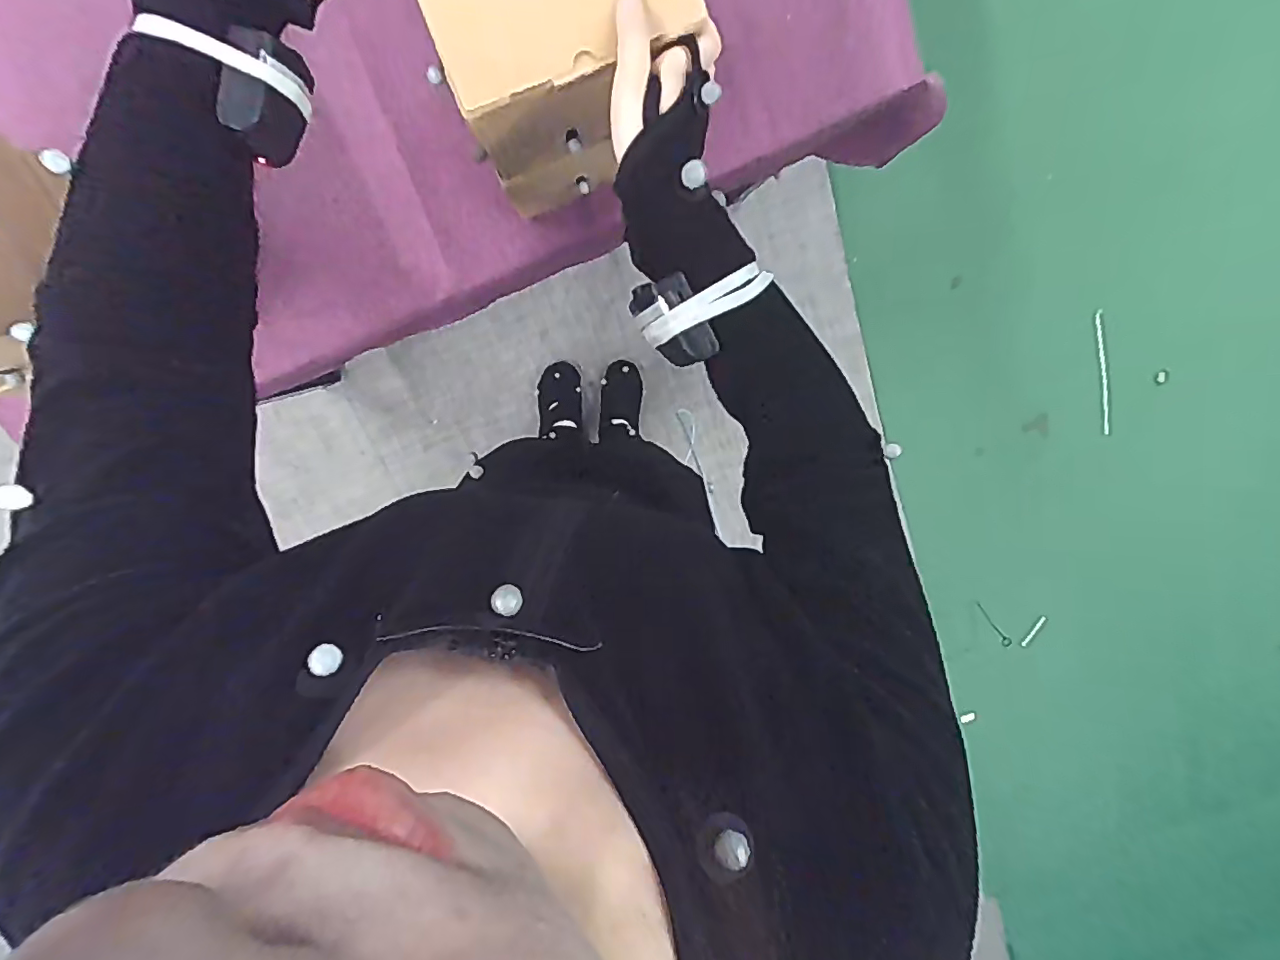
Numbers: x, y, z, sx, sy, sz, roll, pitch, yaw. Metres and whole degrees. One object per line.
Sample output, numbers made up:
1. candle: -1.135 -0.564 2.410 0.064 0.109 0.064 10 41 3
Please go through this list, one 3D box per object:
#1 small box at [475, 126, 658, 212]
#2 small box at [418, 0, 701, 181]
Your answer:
1. small box: -0.091 -0.395 0.555 0.168 0.176 0.179 -21 107 1
2. small box: -0.072 -0.354 0.397 0.168 0.176 0.179 -20 108 1
